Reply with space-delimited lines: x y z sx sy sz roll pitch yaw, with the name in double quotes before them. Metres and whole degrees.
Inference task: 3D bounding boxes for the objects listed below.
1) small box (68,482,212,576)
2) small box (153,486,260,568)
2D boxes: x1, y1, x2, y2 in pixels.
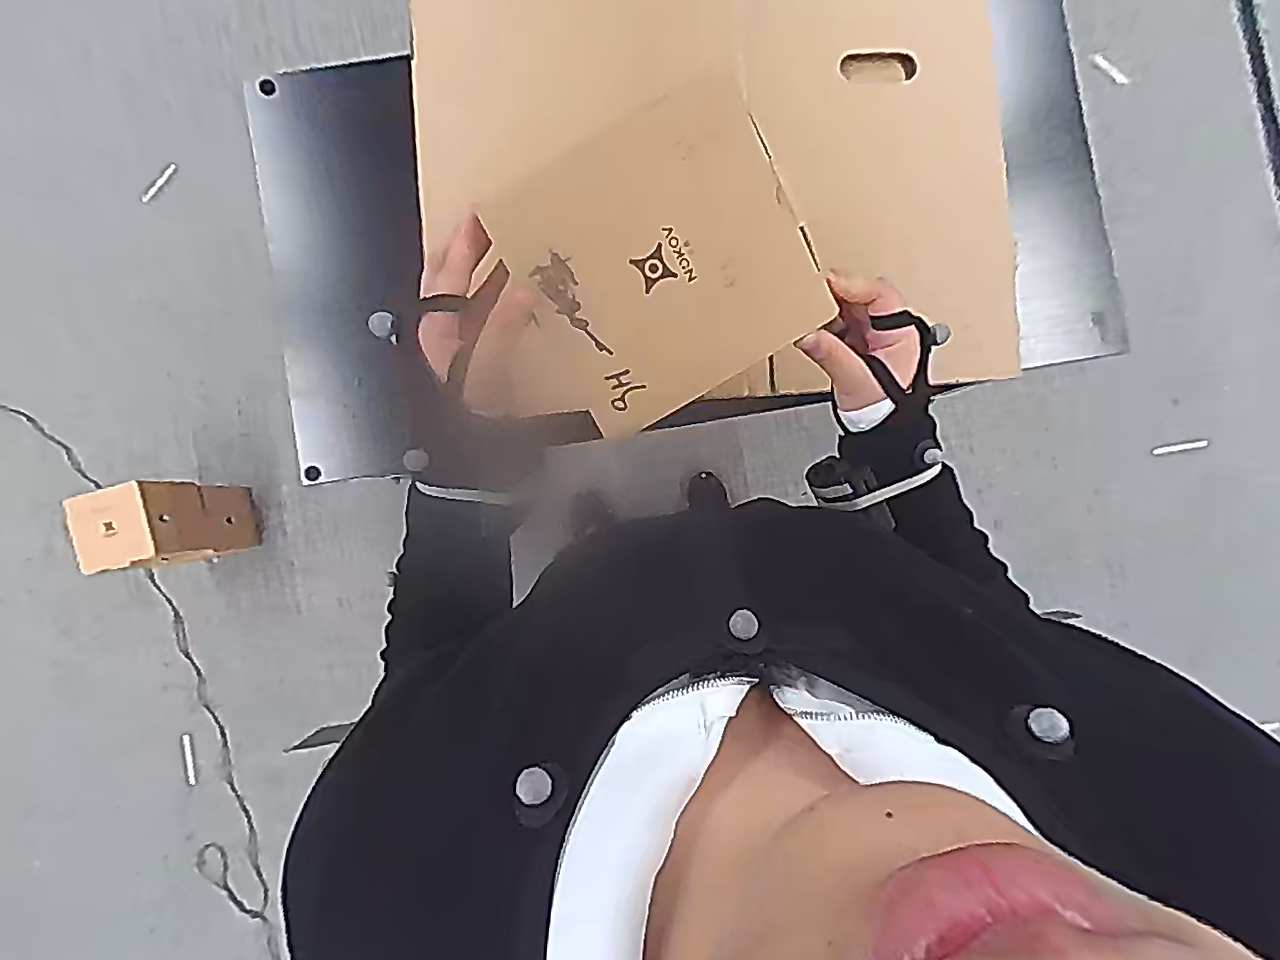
"small box" -1.149 0.108 1.259 0.168 0.176 0.179 -16 88 -1
"small box" -1.148 0.120 1.422 0.168 0.176 0.179 -13 89 0
